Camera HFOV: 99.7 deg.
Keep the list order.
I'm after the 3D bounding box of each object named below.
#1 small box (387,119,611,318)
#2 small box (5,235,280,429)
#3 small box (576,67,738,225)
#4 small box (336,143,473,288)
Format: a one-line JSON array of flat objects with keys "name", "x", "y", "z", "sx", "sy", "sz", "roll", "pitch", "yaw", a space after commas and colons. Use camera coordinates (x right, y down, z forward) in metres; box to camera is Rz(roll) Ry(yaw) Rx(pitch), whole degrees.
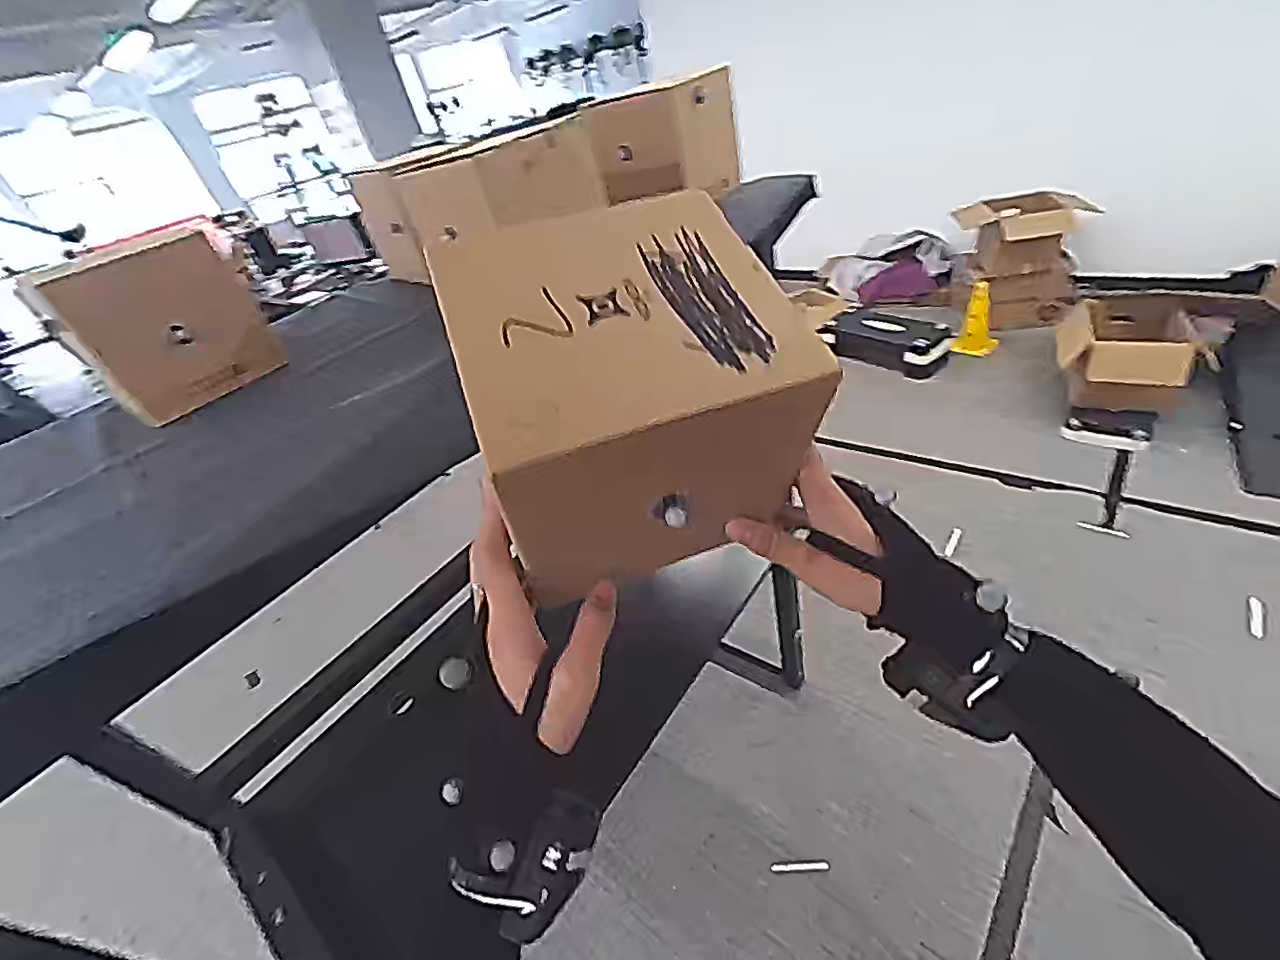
[{"name": "small box", "x": -0.161, "y": -0.311, "z": 0.662, "sx": 0.179, "sy": 0.176, "sz": 0.168, "roll": 15, "pitch": 48, "yaw": 38}, {"name": "small box", "x": -0.585, "y": -0.180, "z": 0.654, "sx": 0.179, "sy": 0.176, "sz": 0.168, "roll": 17, "pitch": 47, "yaw": 35}, {"name": "small box", "x": 0.034, "y": -0.516, "z": 0.852, "sx": 0.179, "sy": 0.176, "sz": 0.168, "roll": 16, "pitch": 49, "yaw": 36}, {"name": "small box", "x": -0.349, "y": -0.428, "z": 0.885, "sx": 0.179, "sy": 0.176, "sz": 0.168, "roll": 22, "pitch": 50, "yaw": 40}]
